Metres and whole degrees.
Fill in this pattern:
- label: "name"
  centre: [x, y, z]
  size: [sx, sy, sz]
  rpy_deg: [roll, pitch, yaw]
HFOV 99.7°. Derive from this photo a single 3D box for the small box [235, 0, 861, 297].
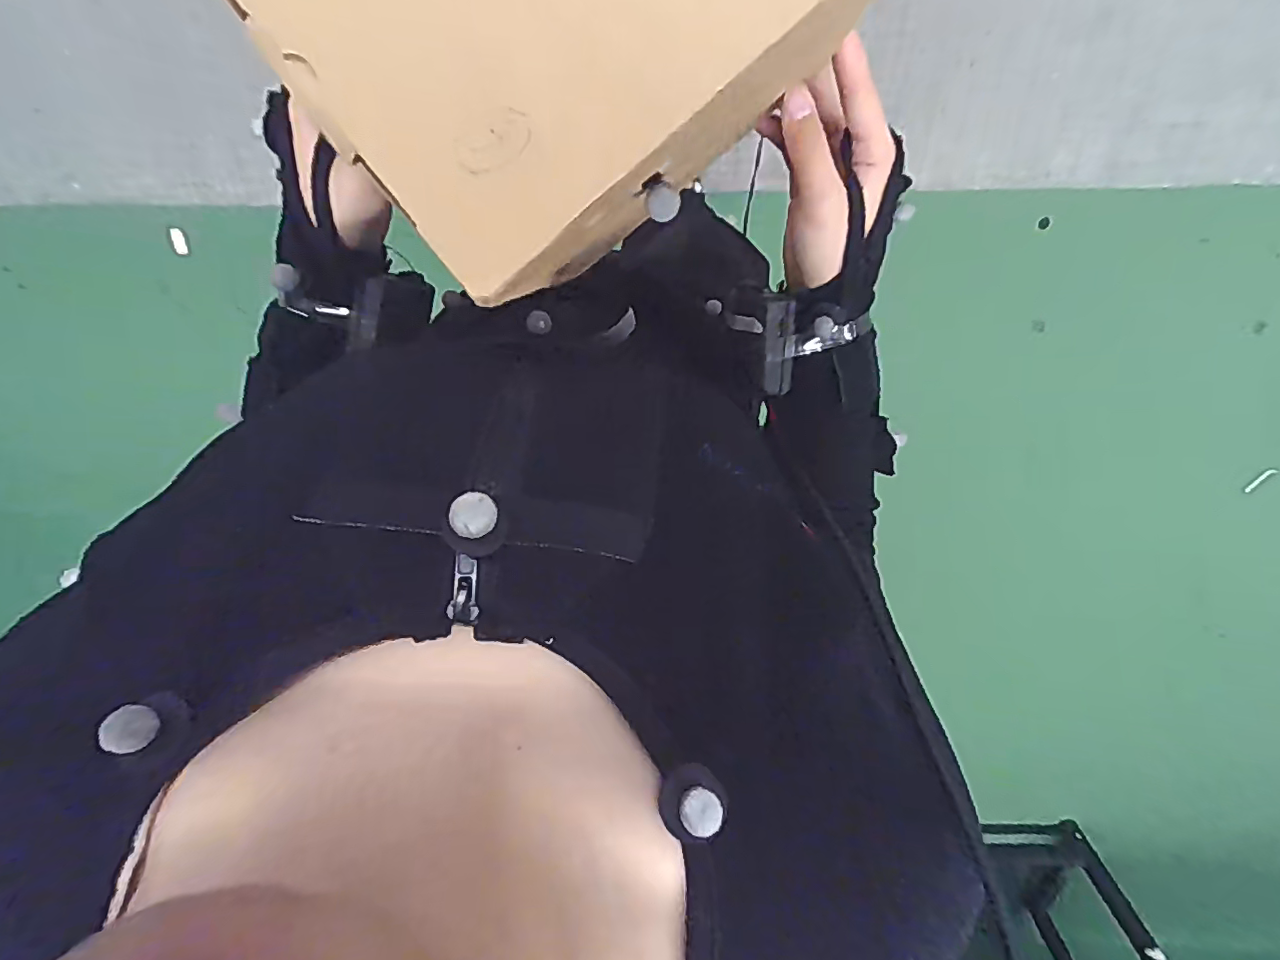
- label: "small box"
  centre: [-0.026, -0.198, 0.216]
  size: [0.179, 0.176, 0.168]
  rpy_deg: [-33, 106, 18]
